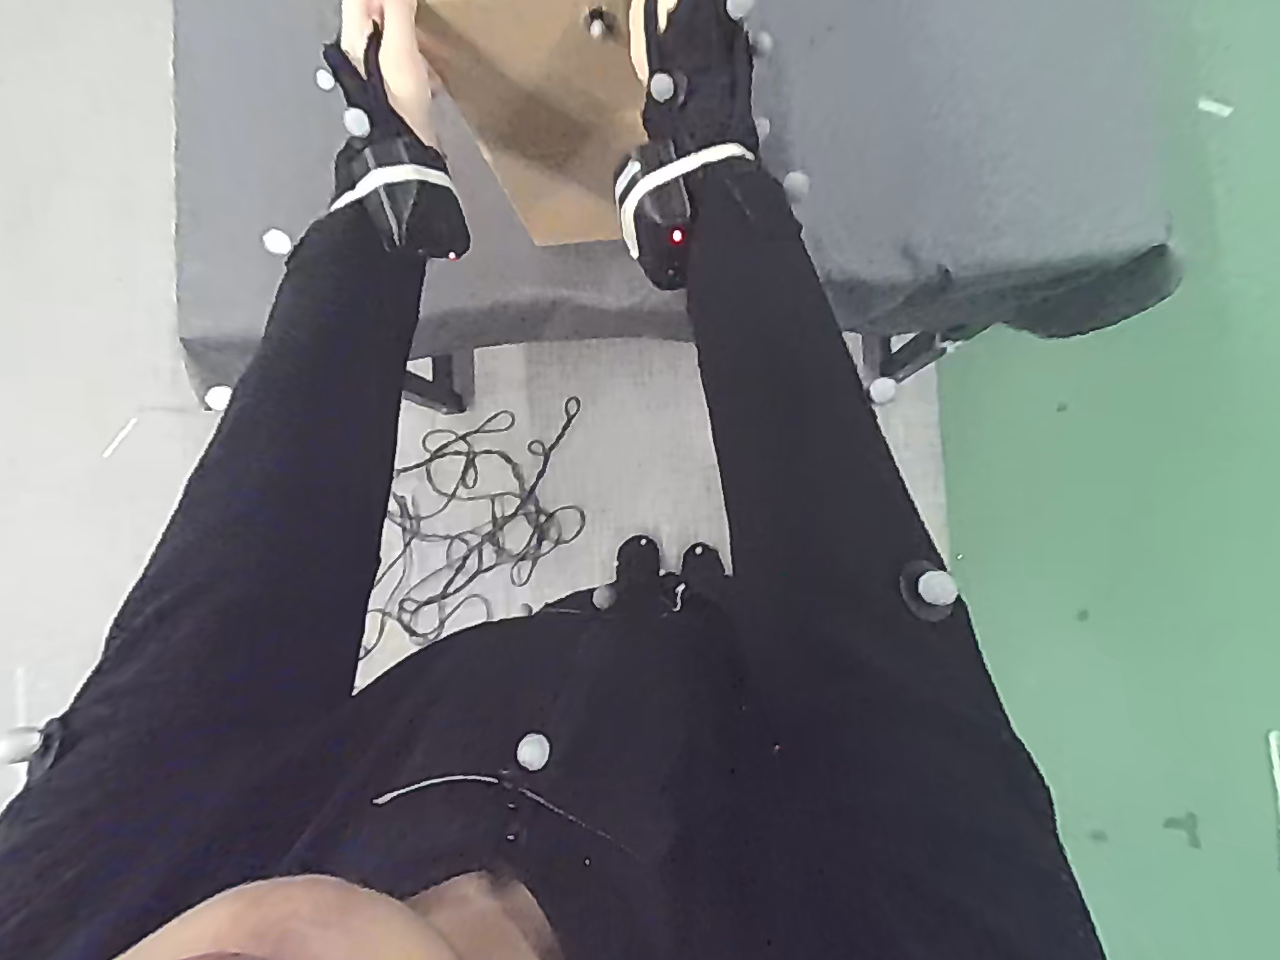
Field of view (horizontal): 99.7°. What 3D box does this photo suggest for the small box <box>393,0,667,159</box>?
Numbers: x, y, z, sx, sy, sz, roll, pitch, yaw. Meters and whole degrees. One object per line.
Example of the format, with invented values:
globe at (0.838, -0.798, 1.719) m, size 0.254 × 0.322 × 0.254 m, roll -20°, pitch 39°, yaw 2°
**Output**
small box at (-0.072, -0.388, 0.431) m, size 0.179 × 0.176 × 0.168 m, roll -3°, pitch 86°, yaw 4°
